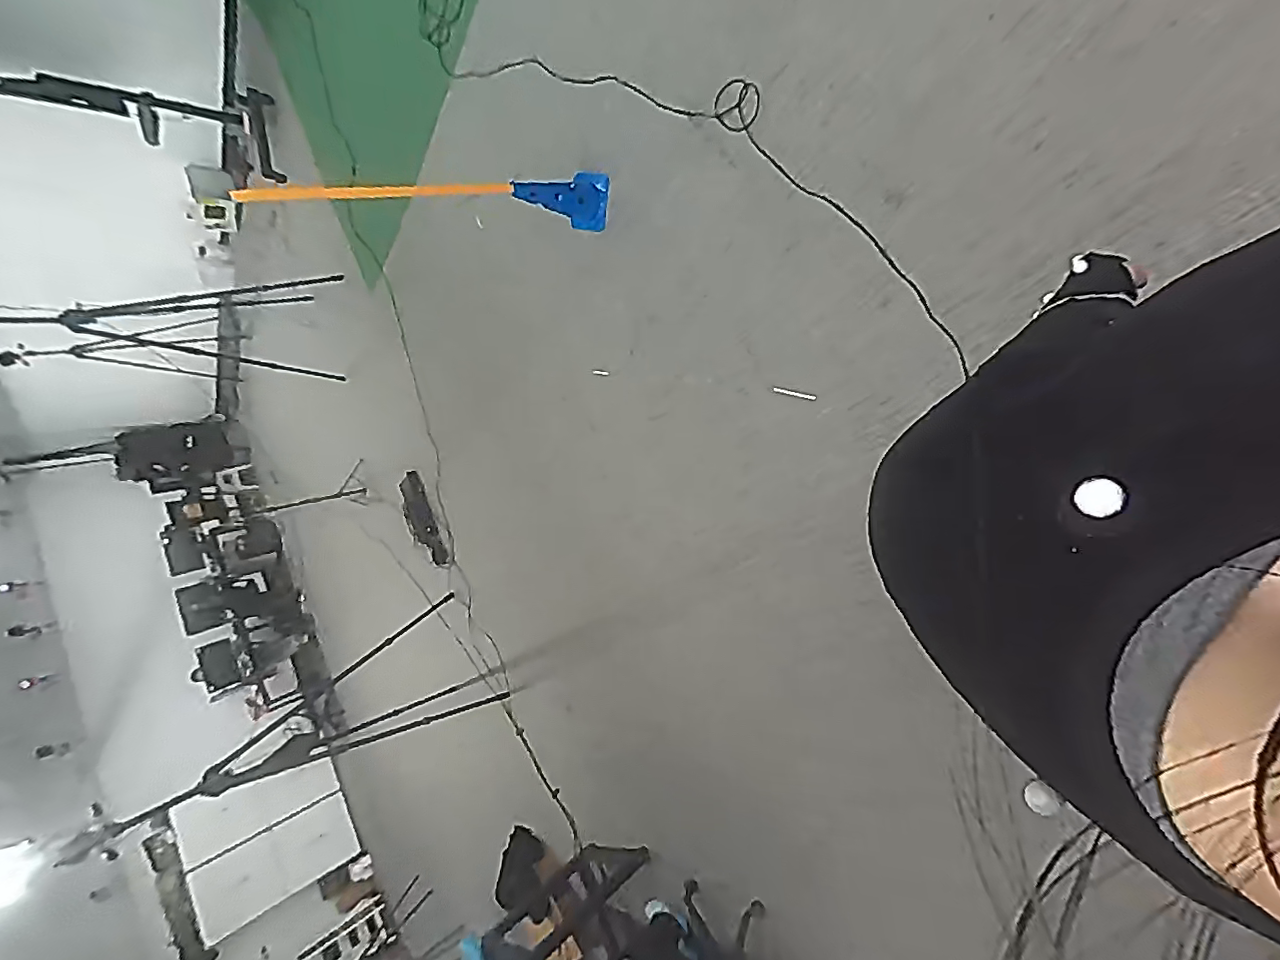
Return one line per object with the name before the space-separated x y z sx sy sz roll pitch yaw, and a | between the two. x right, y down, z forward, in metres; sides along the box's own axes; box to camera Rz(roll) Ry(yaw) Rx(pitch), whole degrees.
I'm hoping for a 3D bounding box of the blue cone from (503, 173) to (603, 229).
blue cone | -0.323 -1.028 1.965 0.192 0.380 0.193 25 121 37
